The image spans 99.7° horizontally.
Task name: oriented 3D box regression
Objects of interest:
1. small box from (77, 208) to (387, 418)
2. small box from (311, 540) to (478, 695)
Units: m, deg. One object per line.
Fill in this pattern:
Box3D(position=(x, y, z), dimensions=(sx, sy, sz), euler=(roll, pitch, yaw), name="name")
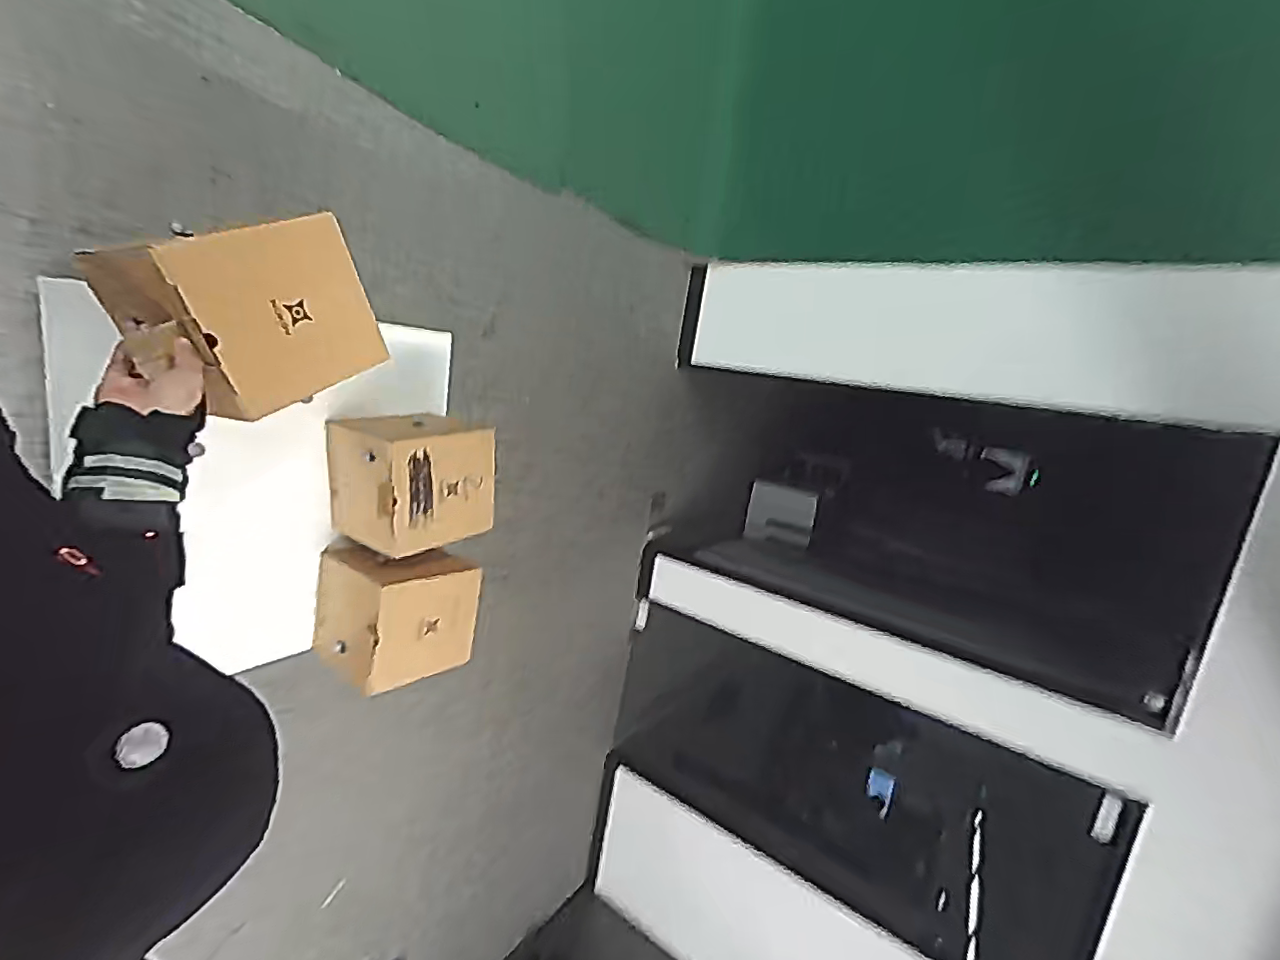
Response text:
Box3D(position=(-0.422, -0.187, 0.580), dimensions=(0.179, 0.176, 0.168), euler=(-49, 141, -44), name="small box")
Box3D(position=(-0.388, 0.203, 0.854), dimensions=(0.179, 0.176, 0.168), euler=(-3, 106, -58), name="small box")
